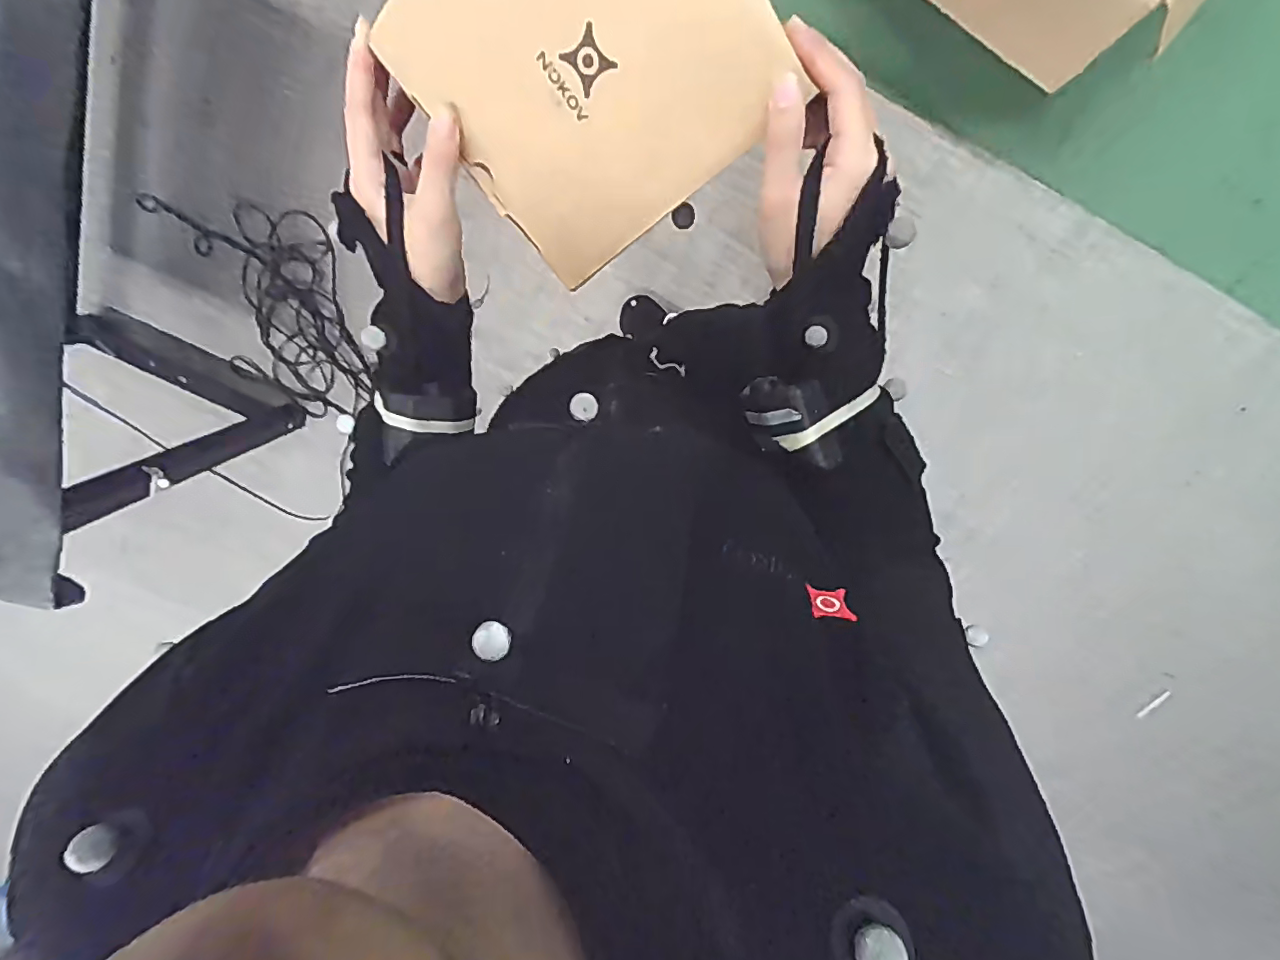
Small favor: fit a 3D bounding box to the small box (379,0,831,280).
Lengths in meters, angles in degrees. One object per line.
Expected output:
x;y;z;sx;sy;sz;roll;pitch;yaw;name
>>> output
-0.008;-0.265;0.328;0.179;0.176;0.168;-25;121;32;small box
